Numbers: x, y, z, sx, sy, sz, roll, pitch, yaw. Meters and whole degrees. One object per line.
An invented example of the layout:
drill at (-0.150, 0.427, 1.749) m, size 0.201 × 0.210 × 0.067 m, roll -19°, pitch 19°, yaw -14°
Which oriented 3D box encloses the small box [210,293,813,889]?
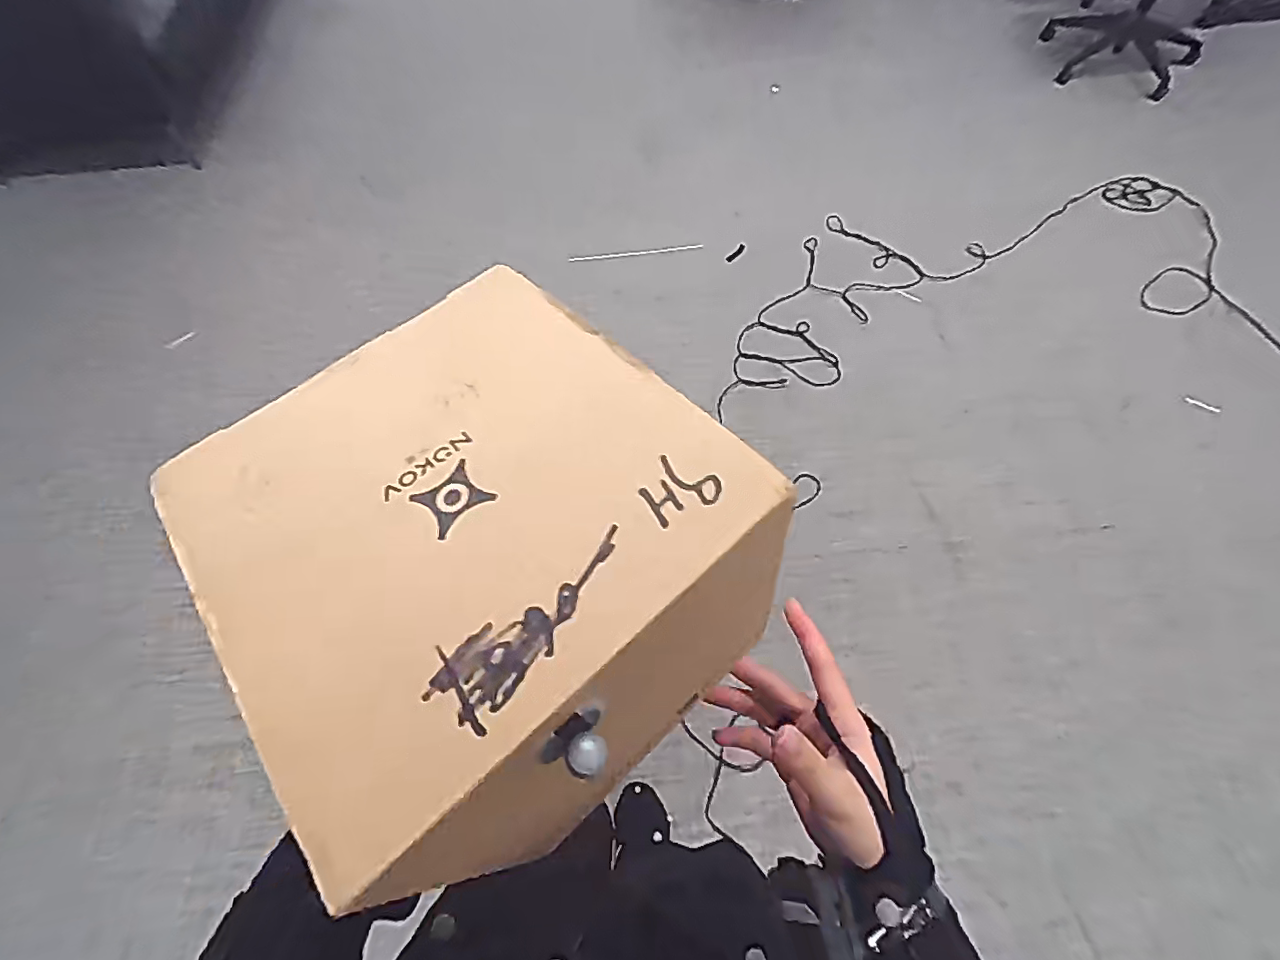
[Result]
small box at (-0.047, 0.051, 0.265) m, size 0.168 × 0.176 × 0.179 m, roll -40°, pitch 61°, yaw -15°
